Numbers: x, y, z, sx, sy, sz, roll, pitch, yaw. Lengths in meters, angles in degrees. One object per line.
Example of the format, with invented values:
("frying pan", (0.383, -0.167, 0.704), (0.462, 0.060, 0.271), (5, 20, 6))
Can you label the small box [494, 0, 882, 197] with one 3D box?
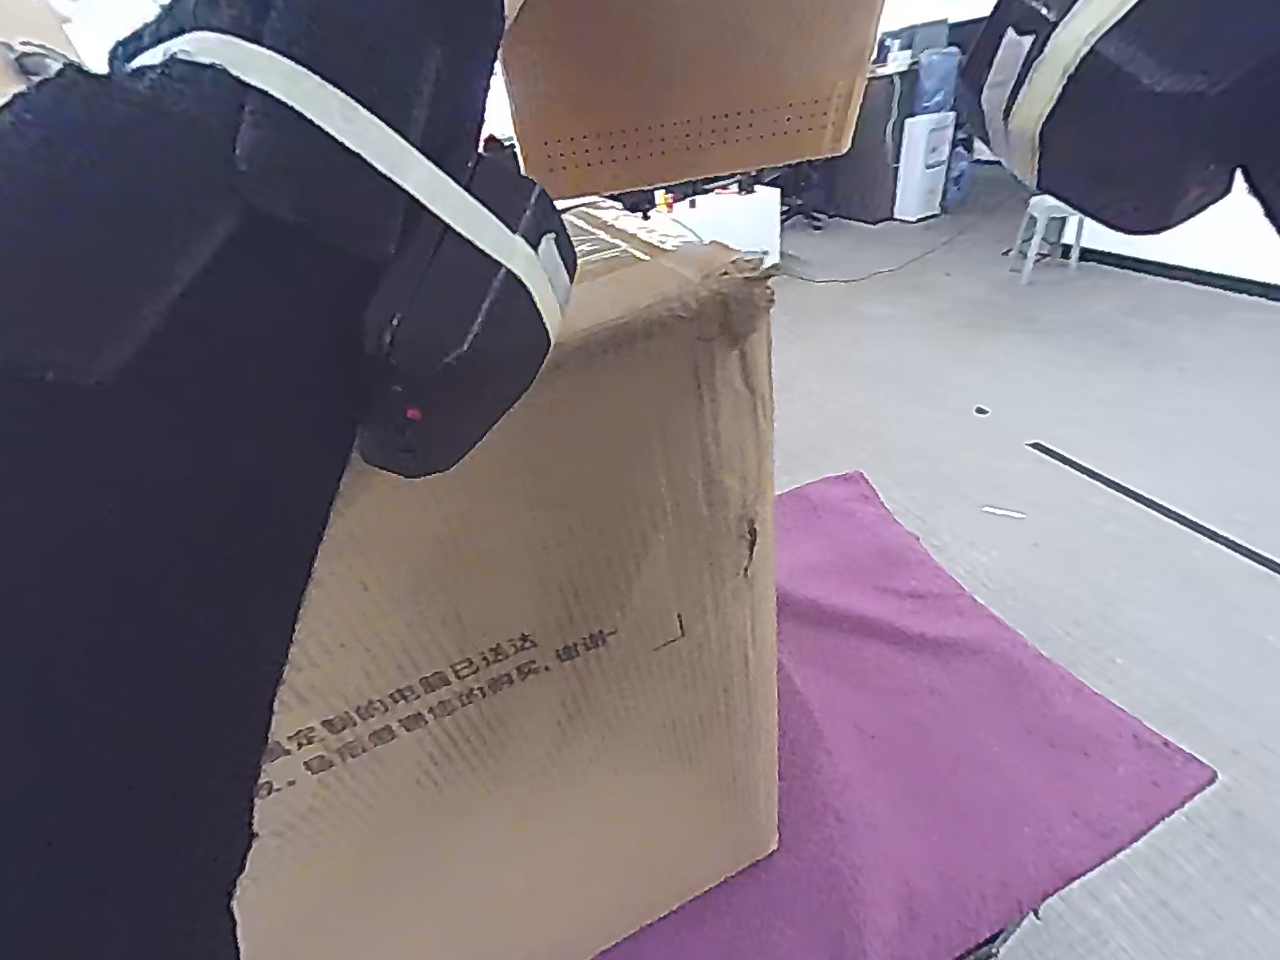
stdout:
("small box", (0.015, -0.272, 0.265), (0.179, 0.176, 0.168), (-10, 59, -1))
